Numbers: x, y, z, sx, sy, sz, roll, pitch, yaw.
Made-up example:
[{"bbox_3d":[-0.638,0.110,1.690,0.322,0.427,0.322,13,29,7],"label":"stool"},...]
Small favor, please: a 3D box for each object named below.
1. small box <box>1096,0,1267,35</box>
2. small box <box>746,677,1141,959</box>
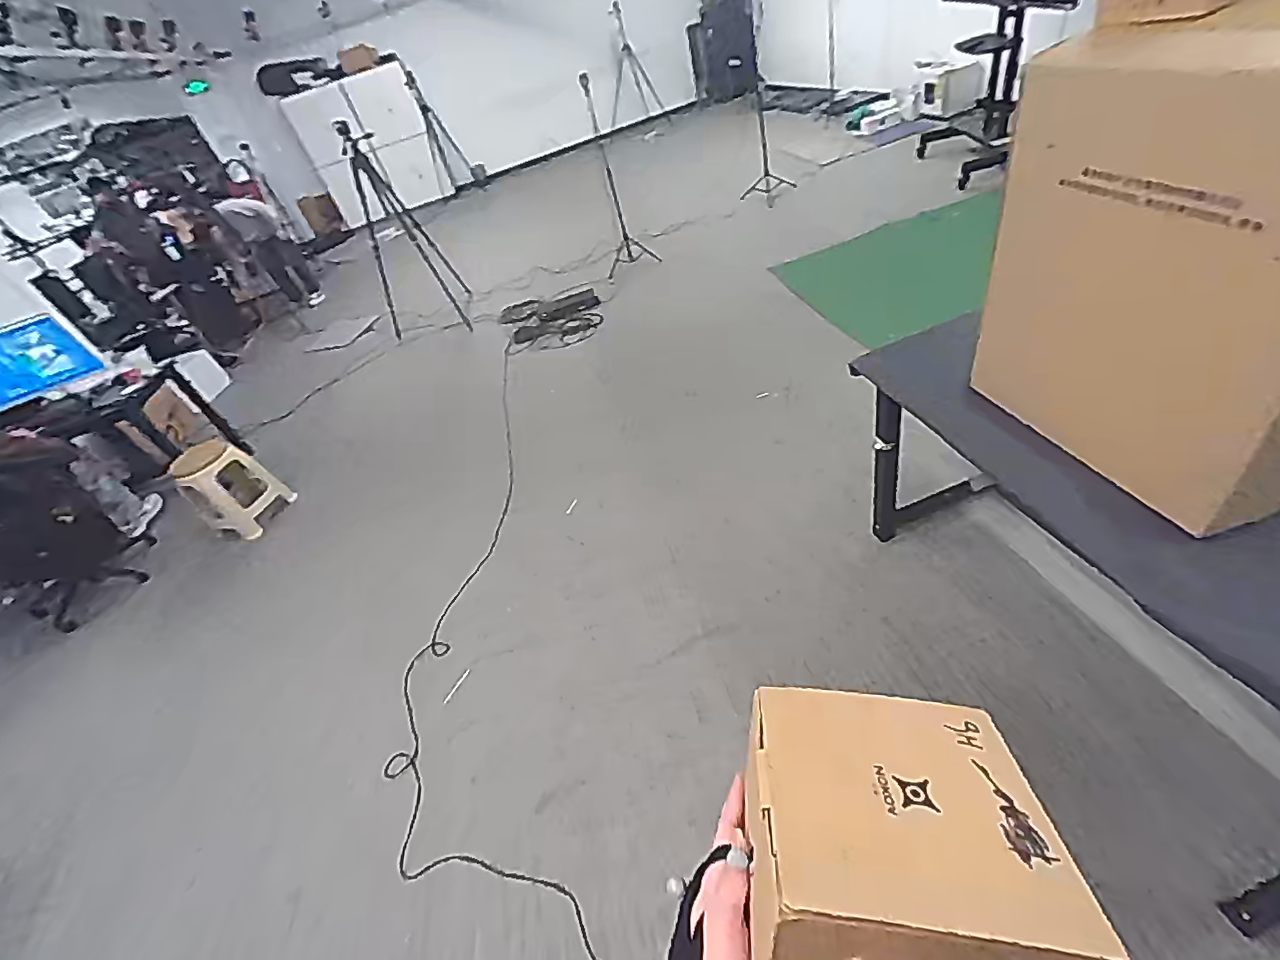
[{"bbox_3d":[0.792,-0.753,0.758,0.179,0.176,0.168,-24,40,-1],"label":"small box"},{"bbox_3d":[0.167,0.264,0.370,0.179,0.176,0.168,4,23,6],"label":"small box"}]
